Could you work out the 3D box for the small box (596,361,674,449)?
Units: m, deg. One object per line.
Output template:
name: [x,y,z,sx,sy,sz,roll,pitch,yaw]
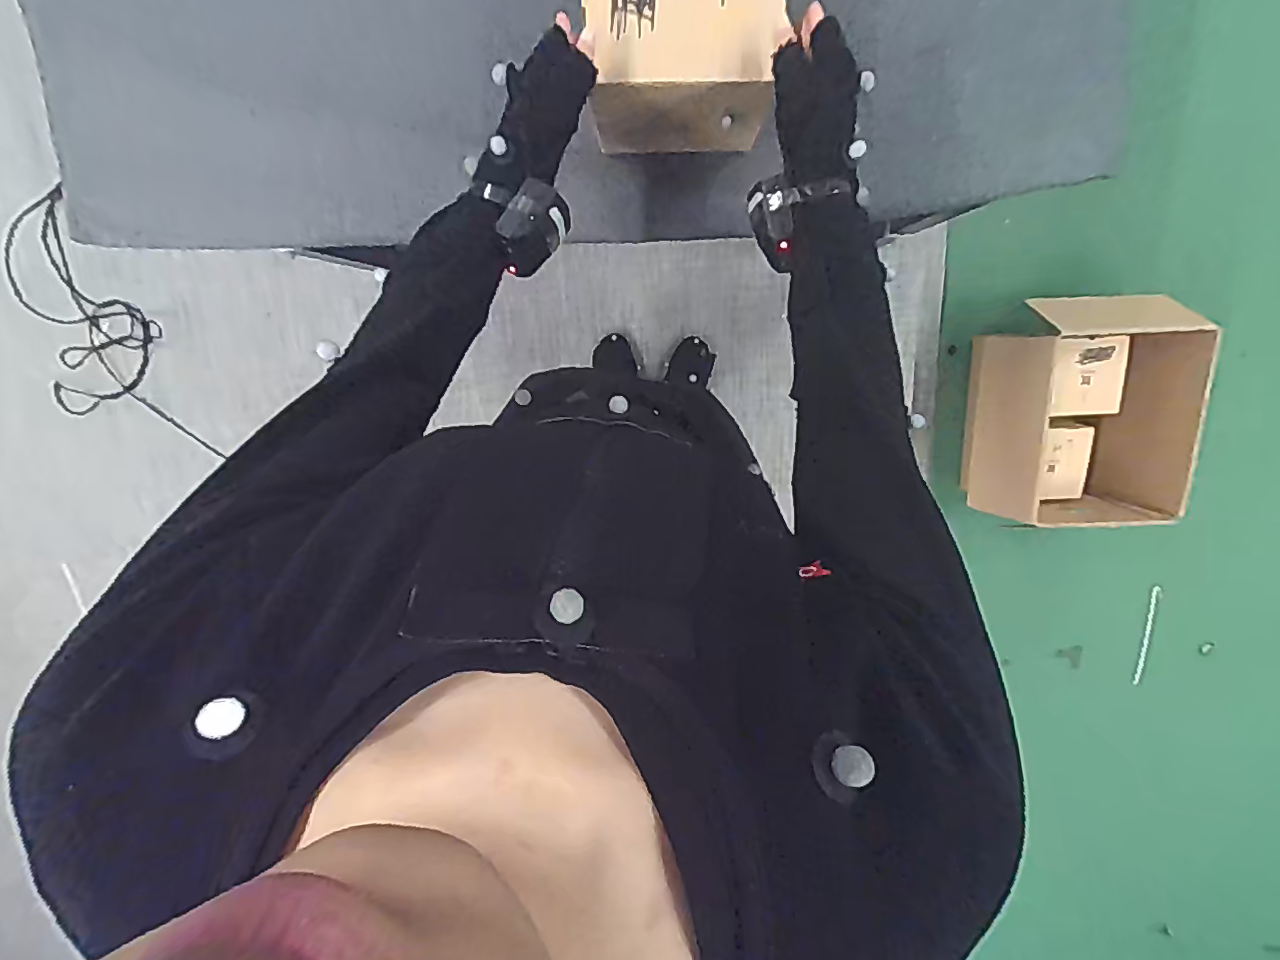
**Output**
small box: [-0.020,-0.196,1.385,0.168,0.176,0.179,8,108,-10]
